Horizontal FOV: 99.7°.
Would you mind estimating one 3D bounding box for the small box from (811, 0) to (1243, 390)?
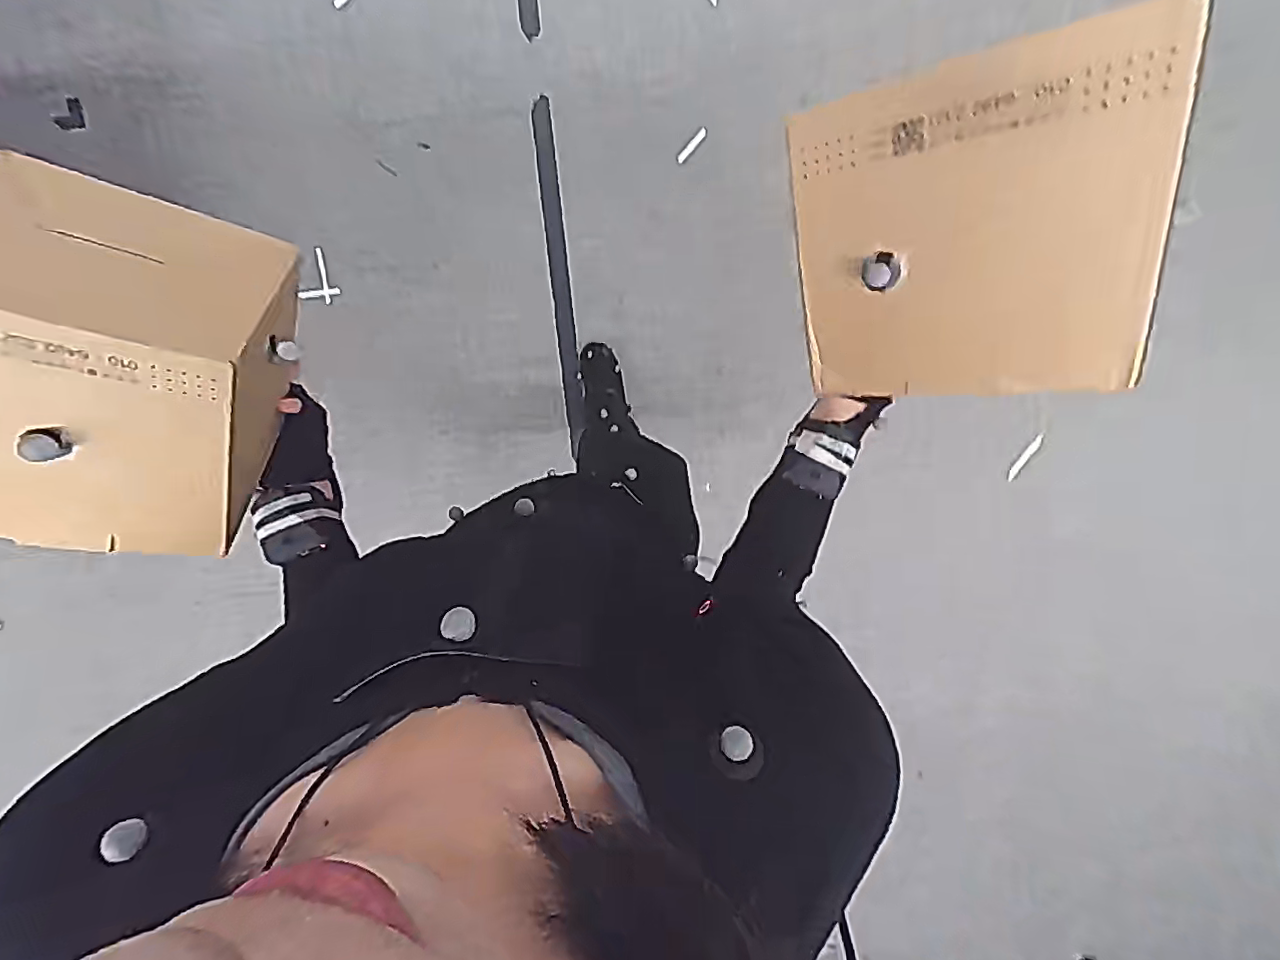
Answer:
[{"bbox_3d":[0.211,-0.166,0.326,0.168,0.179,0.176,6,124,34],"label":"small box"}]

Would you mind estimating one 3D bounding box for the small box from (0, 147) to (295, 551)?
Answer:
[{"bbox_3d":[-0.337,-0.082,0.344,0.168,0.179,0.176,13,126,-27],"label":"small box"}]
